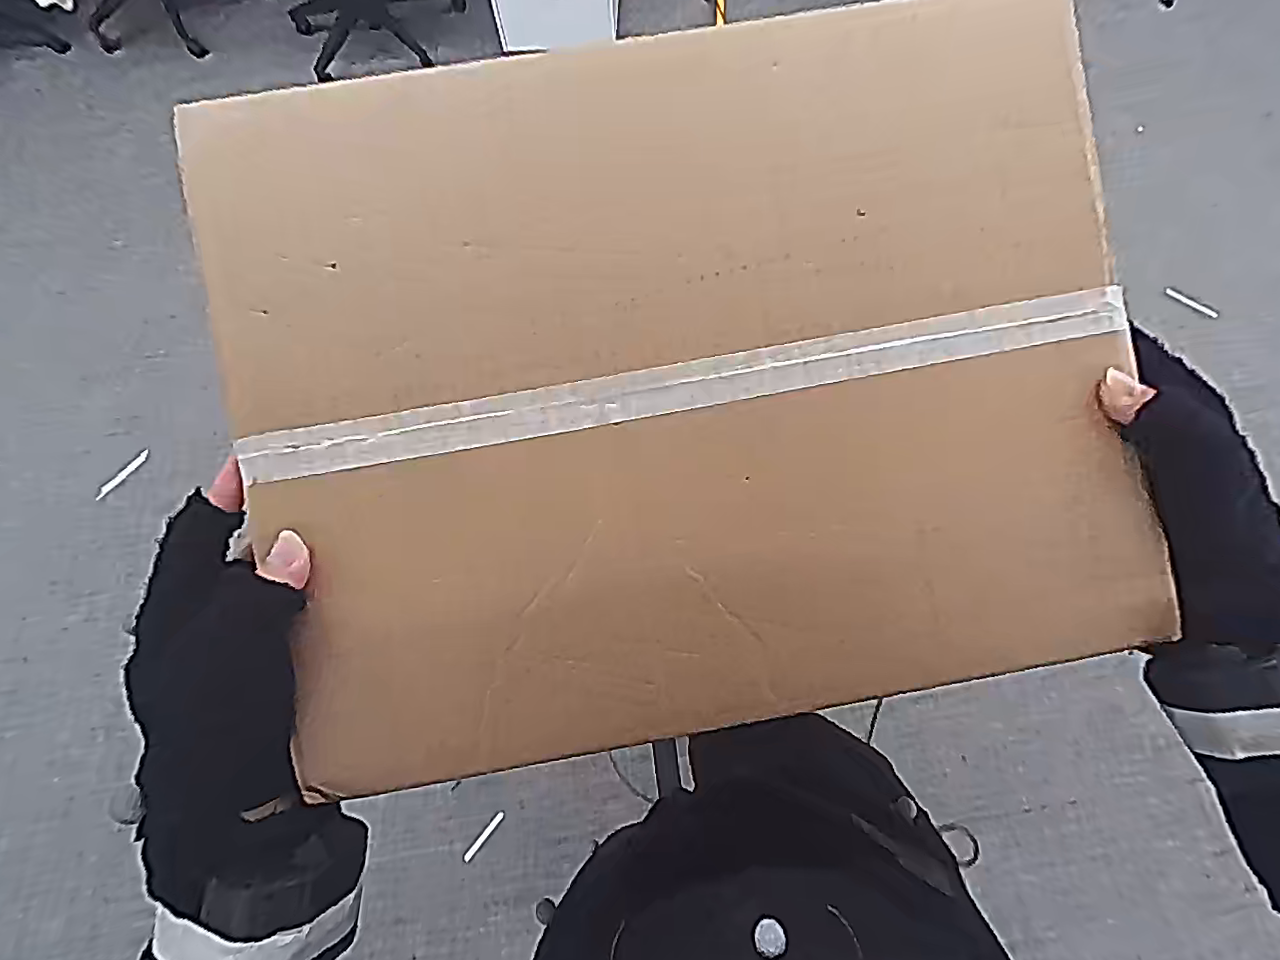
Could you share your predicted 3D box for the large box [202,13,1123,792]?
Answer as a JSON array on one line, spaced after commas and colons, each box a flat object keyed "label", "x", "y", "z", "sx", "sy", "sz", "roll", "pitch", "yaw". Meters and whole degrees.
[{"label": "large box", "x": 0.015, "y": -0.042, "z": 0.405, "sx": 0.408, "sy": 0.320, "sz": 0.320, "roll": -10, "pitch": 90, "yaw": -2}]
